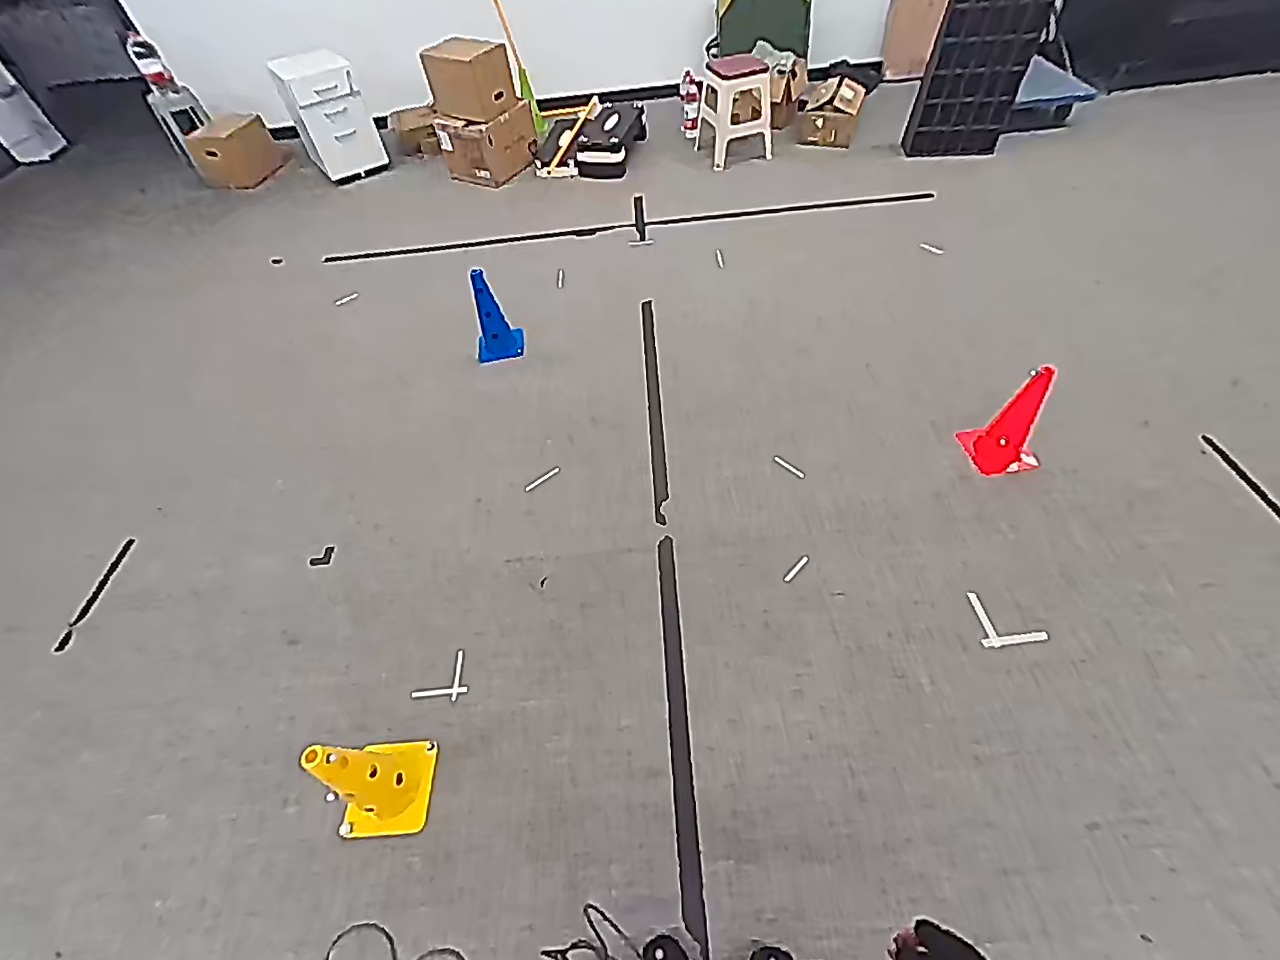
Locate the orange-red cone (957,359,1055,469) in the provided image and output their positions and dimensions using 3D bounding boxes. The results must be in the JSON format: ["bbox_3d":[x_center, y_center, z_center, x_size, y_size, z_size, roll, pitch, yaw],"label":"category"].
[{"bbox_3d":[1.183,-0.226,1.685,0.198,0.360,0.199,-8,50,-1],"label":"orange-red cone"}]

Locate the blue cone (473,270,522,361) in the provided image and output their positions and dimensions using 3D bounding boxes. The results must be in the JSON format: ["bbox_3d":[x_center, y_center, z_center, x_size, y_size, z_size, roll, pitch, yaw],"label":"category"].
[{"bbox_3d":[-0.629,-0.696,2.257,0.192,0.380,0.193,-9,51,-1],"label":"blue cone"}]
